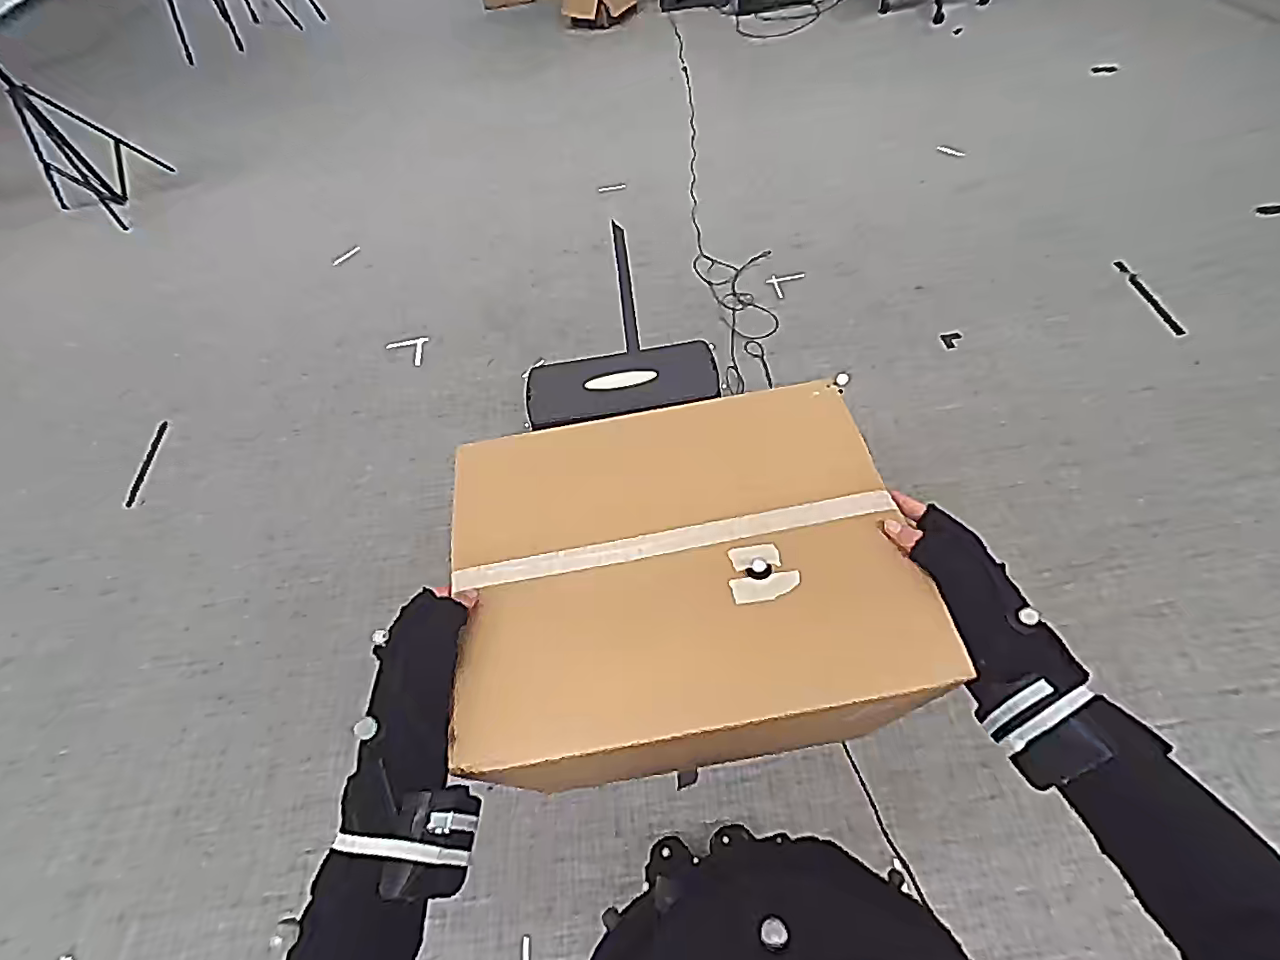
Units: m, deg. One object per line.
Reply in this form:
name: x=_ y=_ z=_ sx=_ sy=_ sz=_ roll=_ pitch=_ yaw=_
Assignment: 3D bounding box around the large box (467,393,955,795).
large box: x=0.046 y=0.146 z=0.629 sx=0.408 sy=0.320 sz=0.320 roll=-10 pitch=57 yaw=-1
